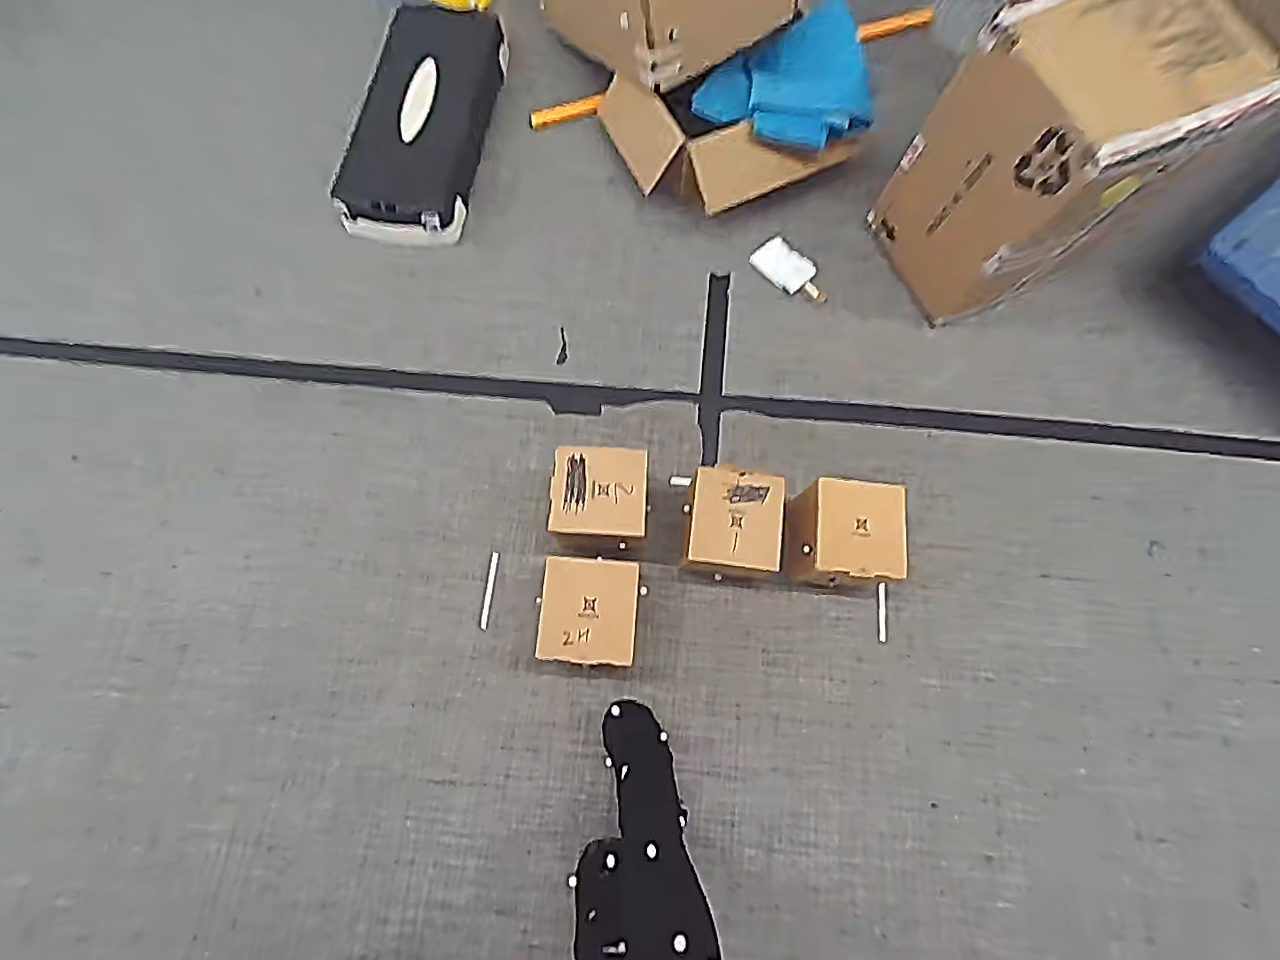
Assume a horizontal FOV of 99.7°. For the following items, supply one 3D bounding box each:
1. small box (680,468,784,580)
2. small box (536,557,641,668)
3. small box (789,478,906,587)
[{"bbox_3d":[0.173,0.093,1.056,0.168,0.176,0.179,8,75,0],"label":"small box"},{"bbox_3d":[-0.090,0.247,1.001,0.168,0.176,0.179,4,74,0],"label":"small box"},{"bbox_3d":[0.399,0.109,1.062,0.168,0.176,0.179,6,74,-1],"label":"small box"}]
